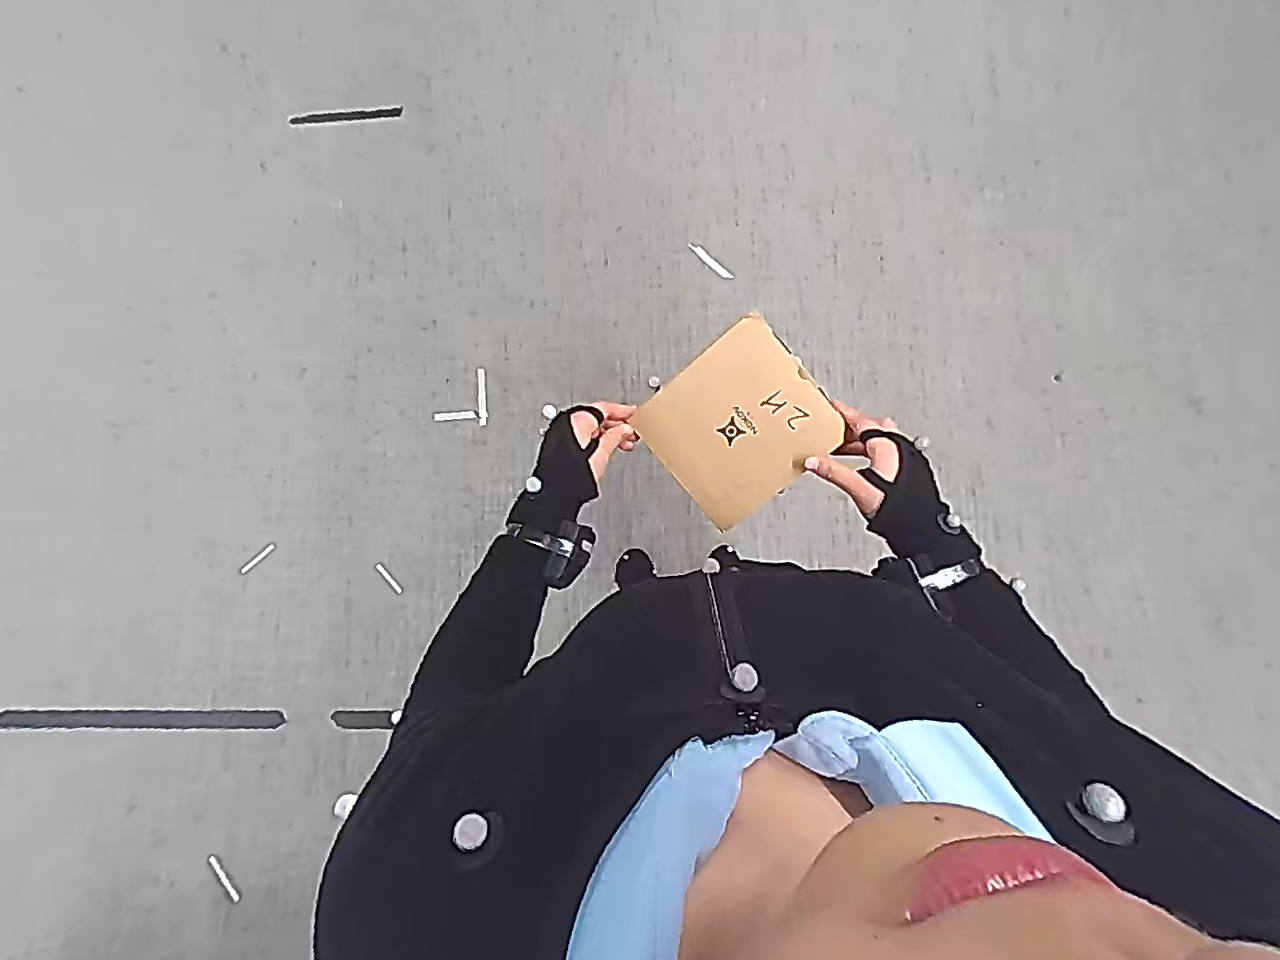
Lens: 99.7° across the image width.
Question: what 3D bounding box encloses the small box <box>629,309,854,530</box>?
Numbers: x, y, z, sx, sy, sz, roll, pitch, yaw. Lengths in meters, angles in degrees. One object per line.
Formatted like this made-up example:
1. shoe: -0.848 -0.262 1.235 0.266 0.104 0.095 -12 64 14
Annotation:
1. small box: 0.113 -0.075 0.638 0.179 0.176 0.168 -40 97 13
